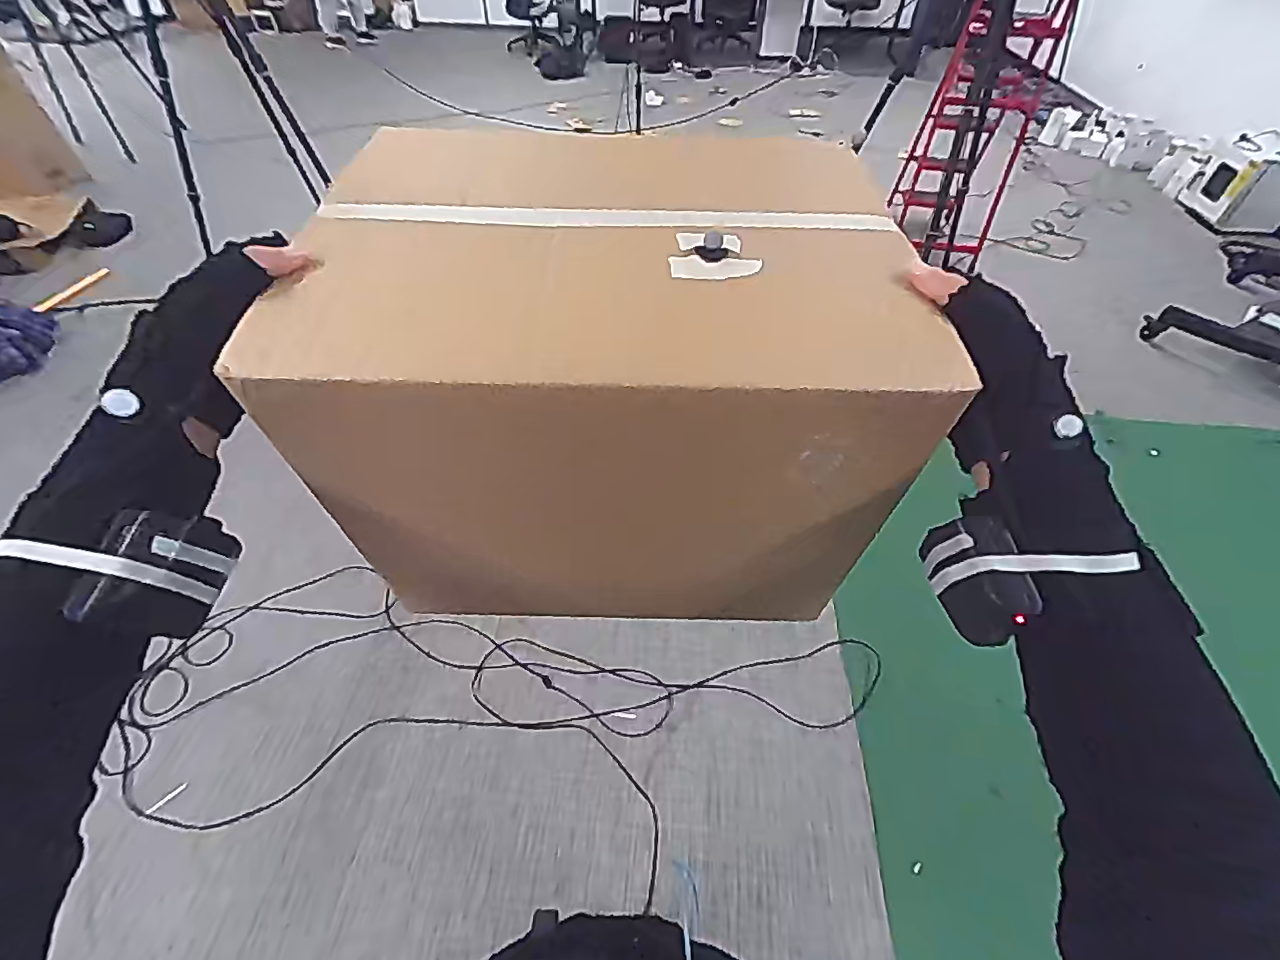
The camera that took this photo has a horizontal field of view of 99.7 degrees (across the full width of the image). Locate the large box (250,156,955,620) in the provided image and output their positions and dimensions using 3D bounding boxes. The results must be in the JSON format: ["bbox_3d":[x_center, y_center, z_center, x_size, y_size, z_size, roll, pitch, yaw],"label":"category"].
[{"bbox_3d":[-0.024,-0.072,0.507,0.408,0.320,0.320,1,53,-1],"label":"large box"}]
